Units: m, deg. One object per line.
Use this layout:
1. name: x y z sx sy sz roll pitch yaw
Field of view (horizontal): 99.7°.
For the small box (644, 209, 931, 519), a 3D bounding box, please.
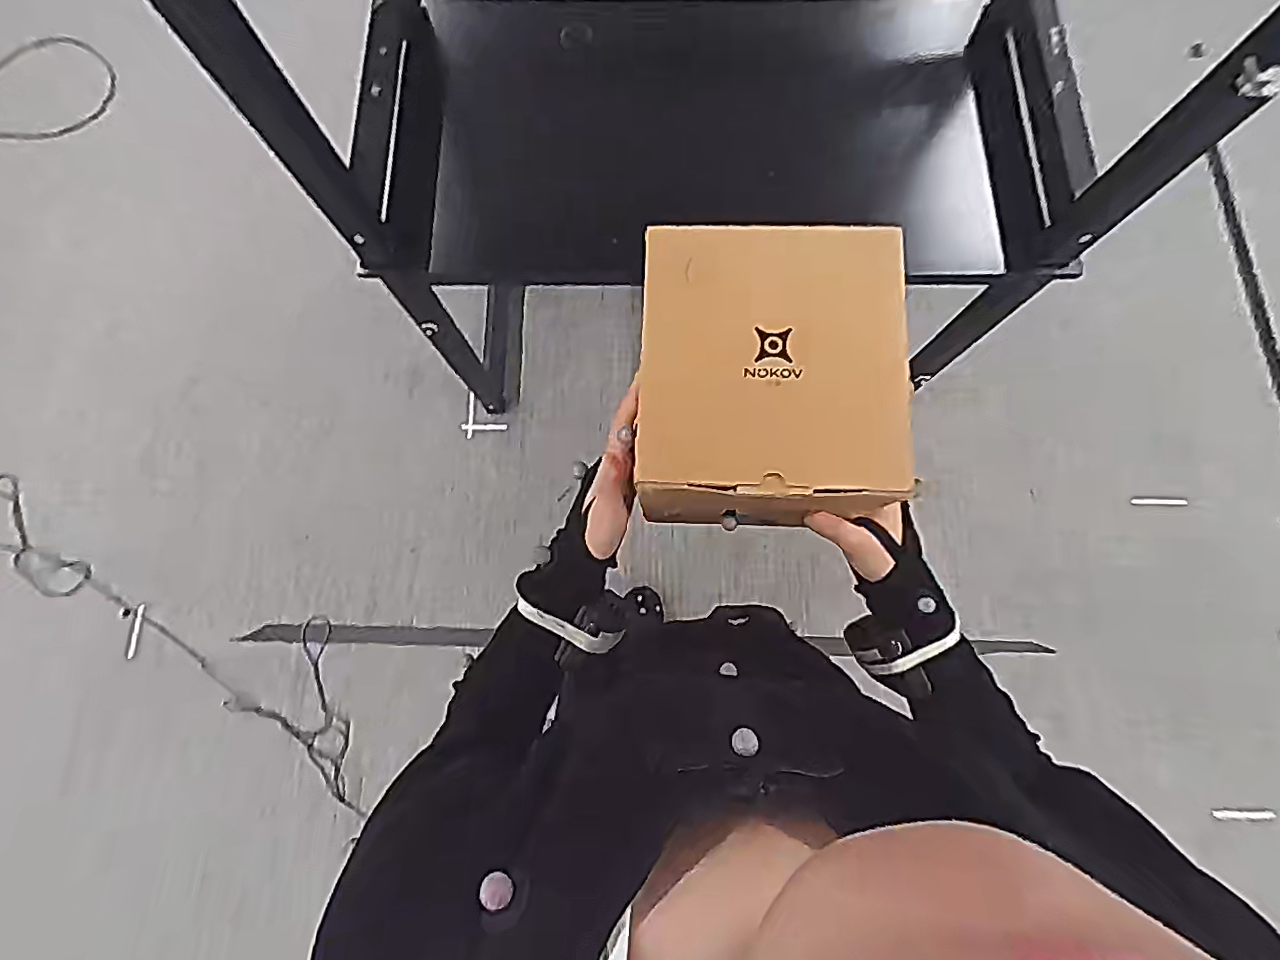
1. small box: 0.088 -0.069 0.401 0.168 0.176 0.179 1 80 2
